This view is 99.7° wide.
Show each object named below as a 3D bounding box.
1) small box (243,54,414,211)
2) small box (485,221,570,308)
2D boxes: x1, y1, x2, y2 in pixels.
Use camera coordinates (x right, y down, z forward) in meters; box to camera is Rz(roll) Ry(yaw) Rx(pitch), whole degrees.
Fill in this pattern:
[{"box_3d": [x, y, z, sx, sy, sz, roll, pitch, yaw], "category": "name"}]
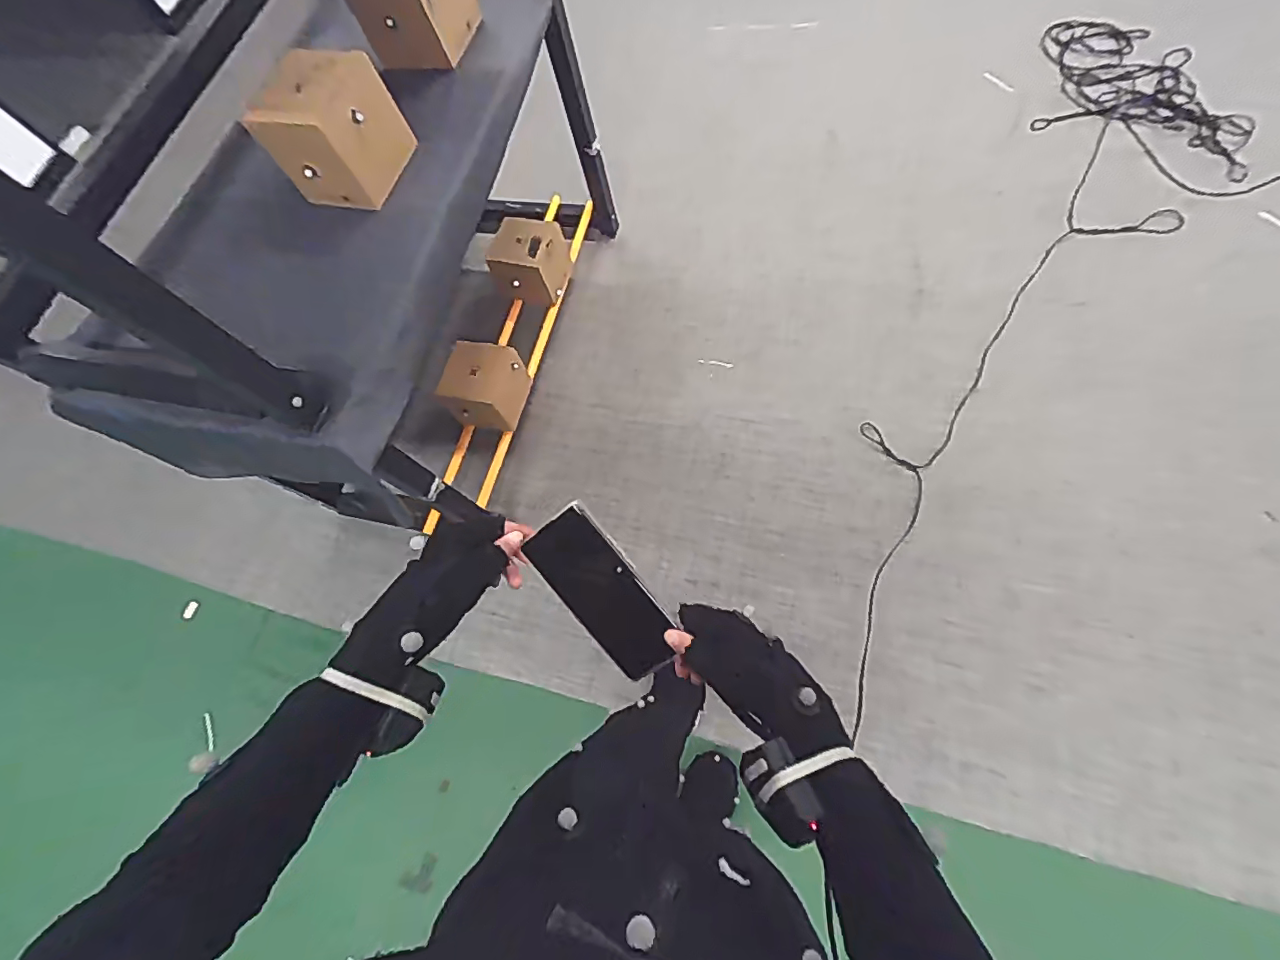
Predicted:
[{"box_3d": [-0.538, -0.612, 0.963, 0.168, 0.176, 0.179, 13, 72, 14], "category": "small box"}, {"box_3d": [-0.327, -0.640, 1.616, 0.179, 0.176, 0.168, 13, 71, 14], "category": "small box"}]
